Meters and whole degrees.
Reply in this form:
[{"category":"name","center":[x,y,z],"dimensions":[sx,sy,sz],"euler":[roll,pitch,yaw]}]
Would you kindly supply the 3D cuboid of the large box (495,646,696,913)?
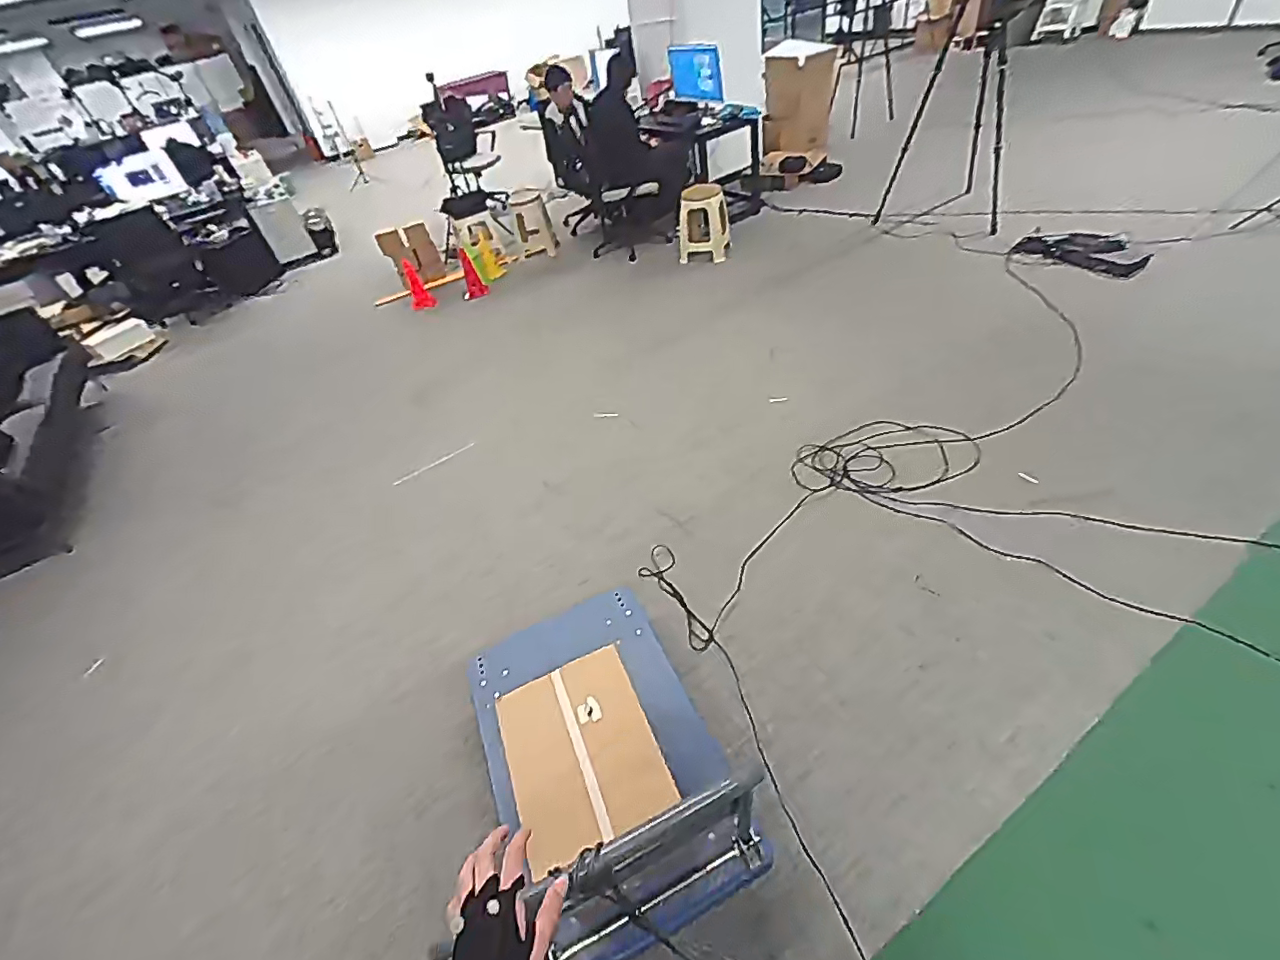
[{"category":"large box","center":[-0.105,0.690,1.273],"dimensions":[0.320,0.320,0.408],"euler":[-22,42,-11]}]
